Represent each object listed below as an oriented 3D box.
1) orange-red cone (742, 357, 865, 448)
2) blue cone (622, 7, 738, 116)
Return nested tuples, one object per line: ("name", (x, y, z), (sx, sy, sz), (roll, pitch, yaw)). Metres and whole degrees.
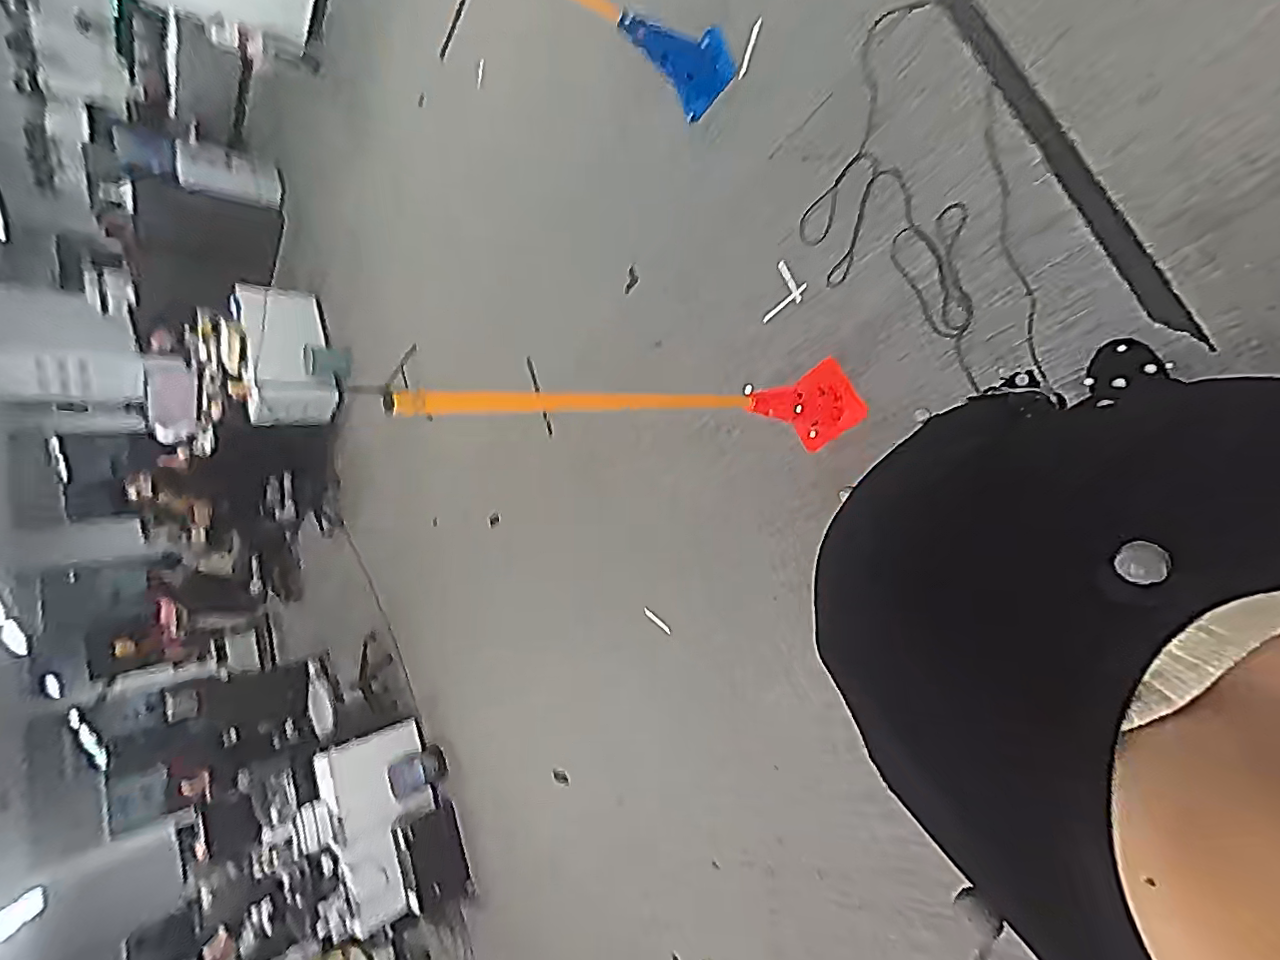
("orange-red cone", (0.374, -0.200, 1.361), (0.199, 0.360, 0.198), (-39, 67, 40))
("blue cone", (0.091, -1.255, 1.560), (0.193, 0.380, 0.192), (-30, 74, 44))
